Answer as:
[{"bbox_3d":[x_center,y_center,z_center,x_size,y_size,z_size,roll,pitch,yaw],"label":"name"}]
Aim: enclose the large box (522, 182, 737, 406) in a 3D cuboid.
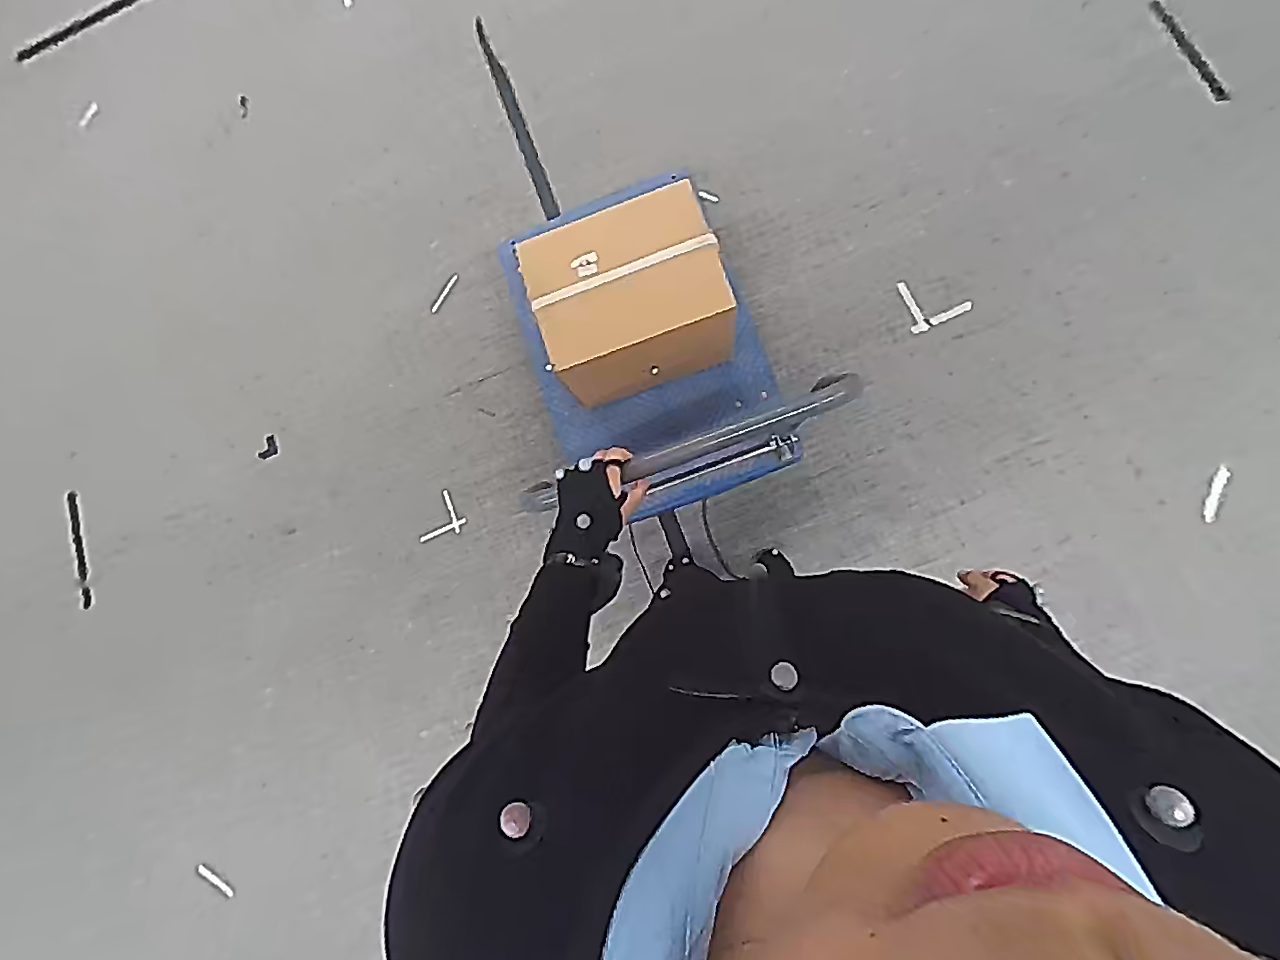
[{"bbox_3d":[-0.008,-0.417,1.299,0.408,0.320,0.320,-19,79,6],"label":"large box"}]
